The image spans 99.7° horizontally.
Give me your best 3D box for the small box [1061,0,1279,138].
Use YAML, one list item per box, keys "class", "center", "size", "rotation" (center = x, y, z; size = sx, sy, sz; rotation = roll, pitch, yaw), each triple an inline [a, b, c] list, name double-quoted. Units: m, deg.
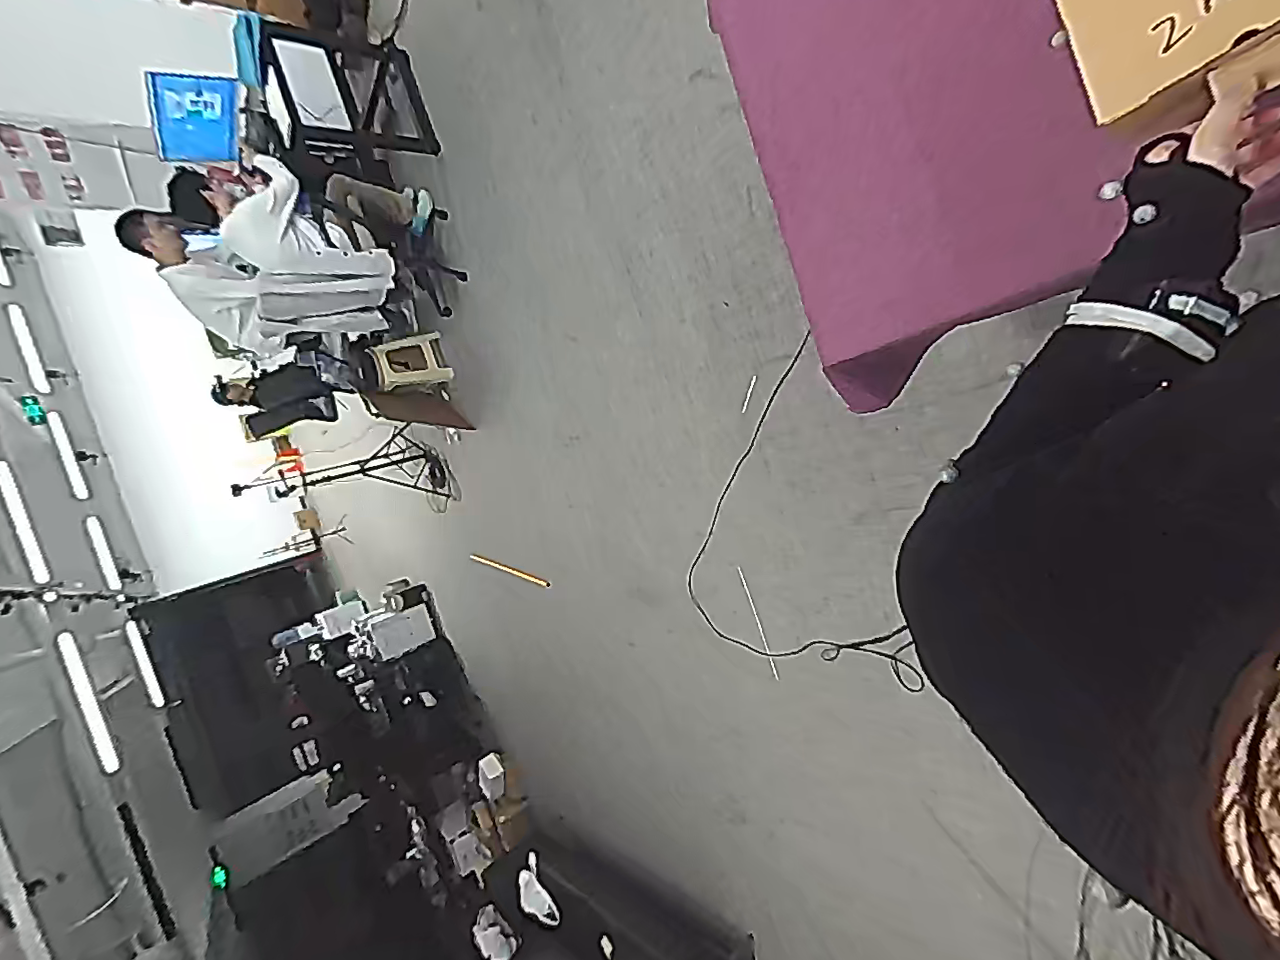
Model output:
- class: "small box"
  center: [0.457, -0.409, 0.427]
  size: [0.168, 0.176, 0.179]
  rotation: [-19, 90, 53]
